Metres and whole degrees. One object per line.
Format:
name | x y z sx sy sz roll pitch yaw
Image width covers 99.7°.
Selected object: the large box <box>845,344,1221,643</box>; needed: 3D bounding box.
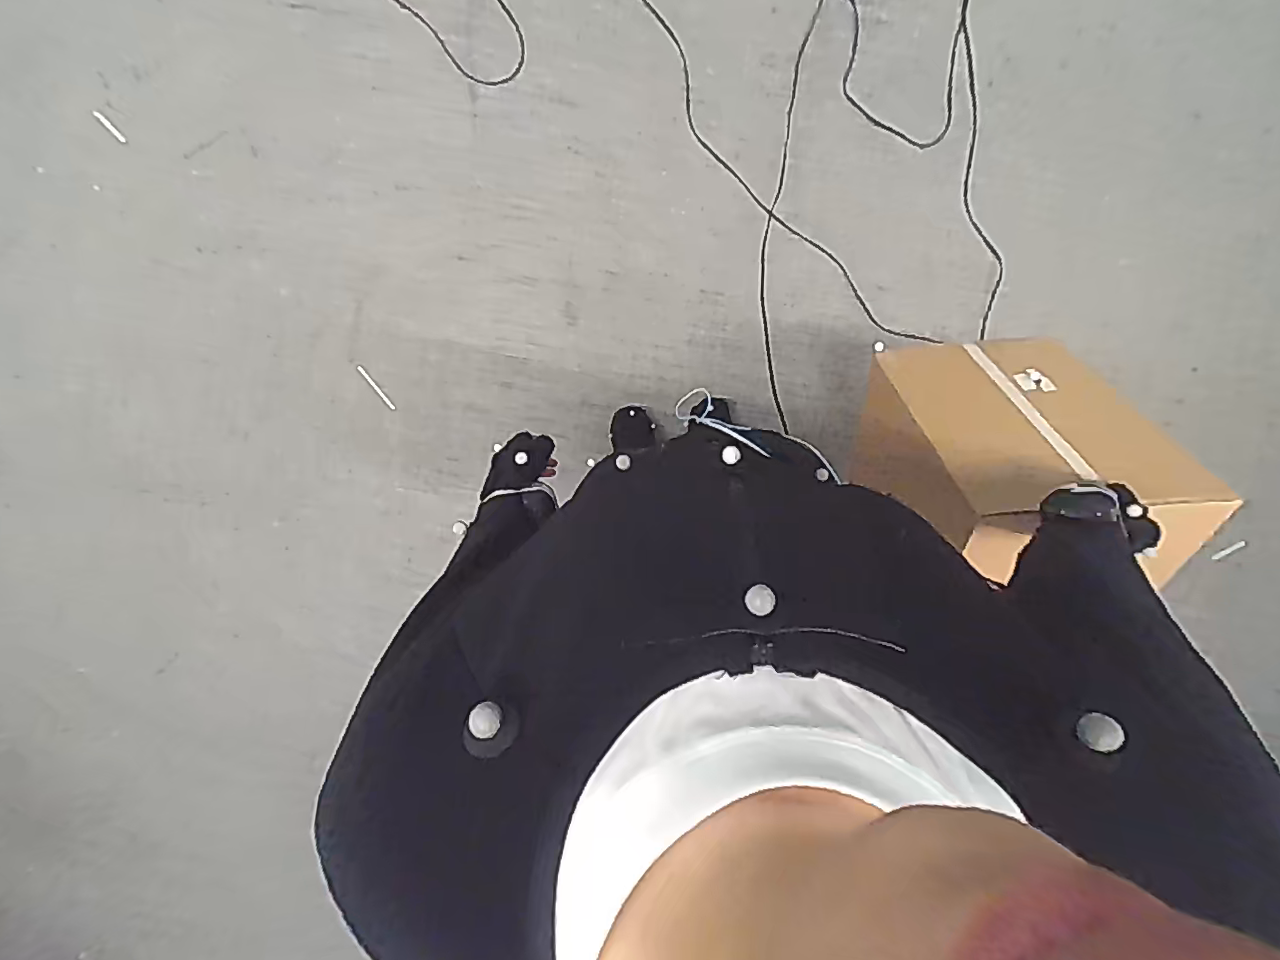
large box | 0.578 0.014 0.915 0.320 0.408 0.320 -3 132 3
